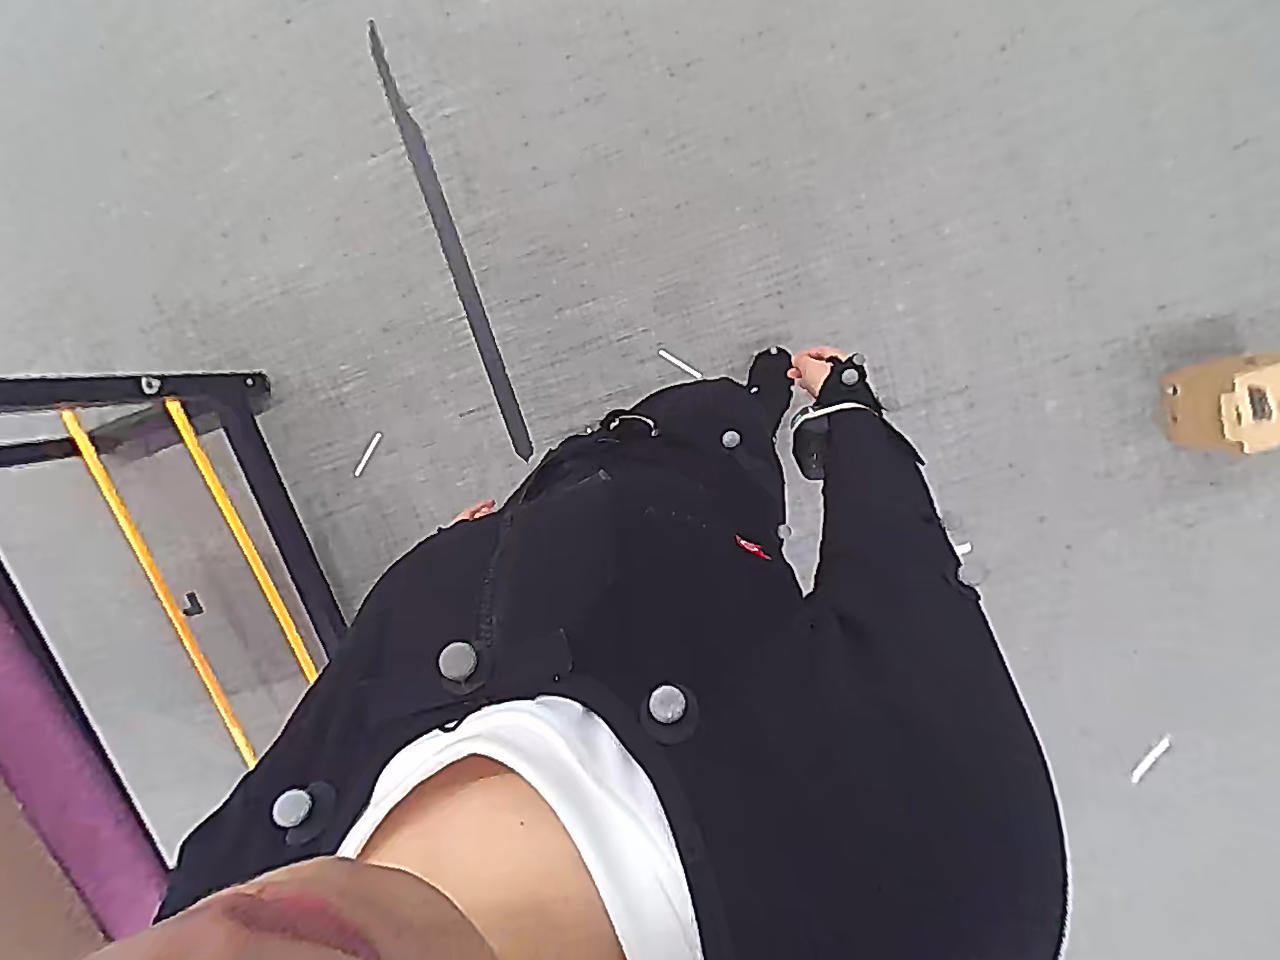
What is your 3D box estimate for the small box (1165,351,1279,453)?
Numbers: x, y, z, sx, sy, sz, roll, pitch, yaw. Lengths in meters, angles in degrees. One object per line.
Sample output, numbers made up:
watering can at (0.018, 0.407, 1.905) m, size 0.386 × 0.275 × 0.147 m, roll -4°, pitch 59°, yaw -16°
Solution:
small box at (1.263, -0.167, 1.138) m, size 0.179 × 0.176 × 0.168 m, roll -17°, pitch 100°, yaw 8°
